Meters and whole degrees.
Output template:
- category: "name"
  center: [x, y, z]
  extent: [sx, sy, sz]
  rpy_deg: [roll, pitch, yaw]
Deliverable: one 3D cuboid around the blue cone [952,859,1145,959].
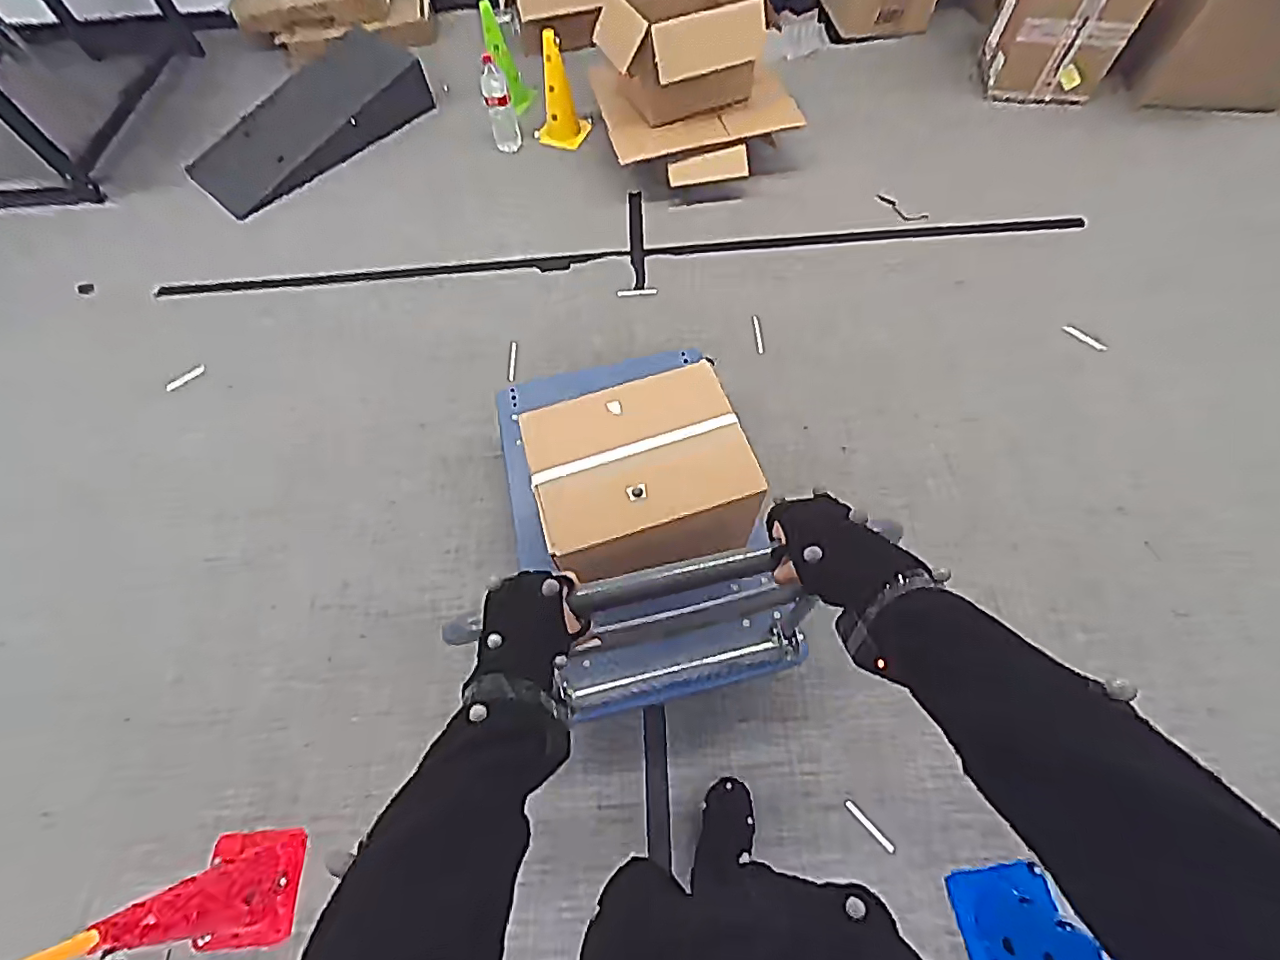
- category: "blue cone"
  center: [0.723, 0.789, 0.909]
  extent: [0.193, 0.380, 0.192]
  rpy_deg: [-6, 62, -1]
